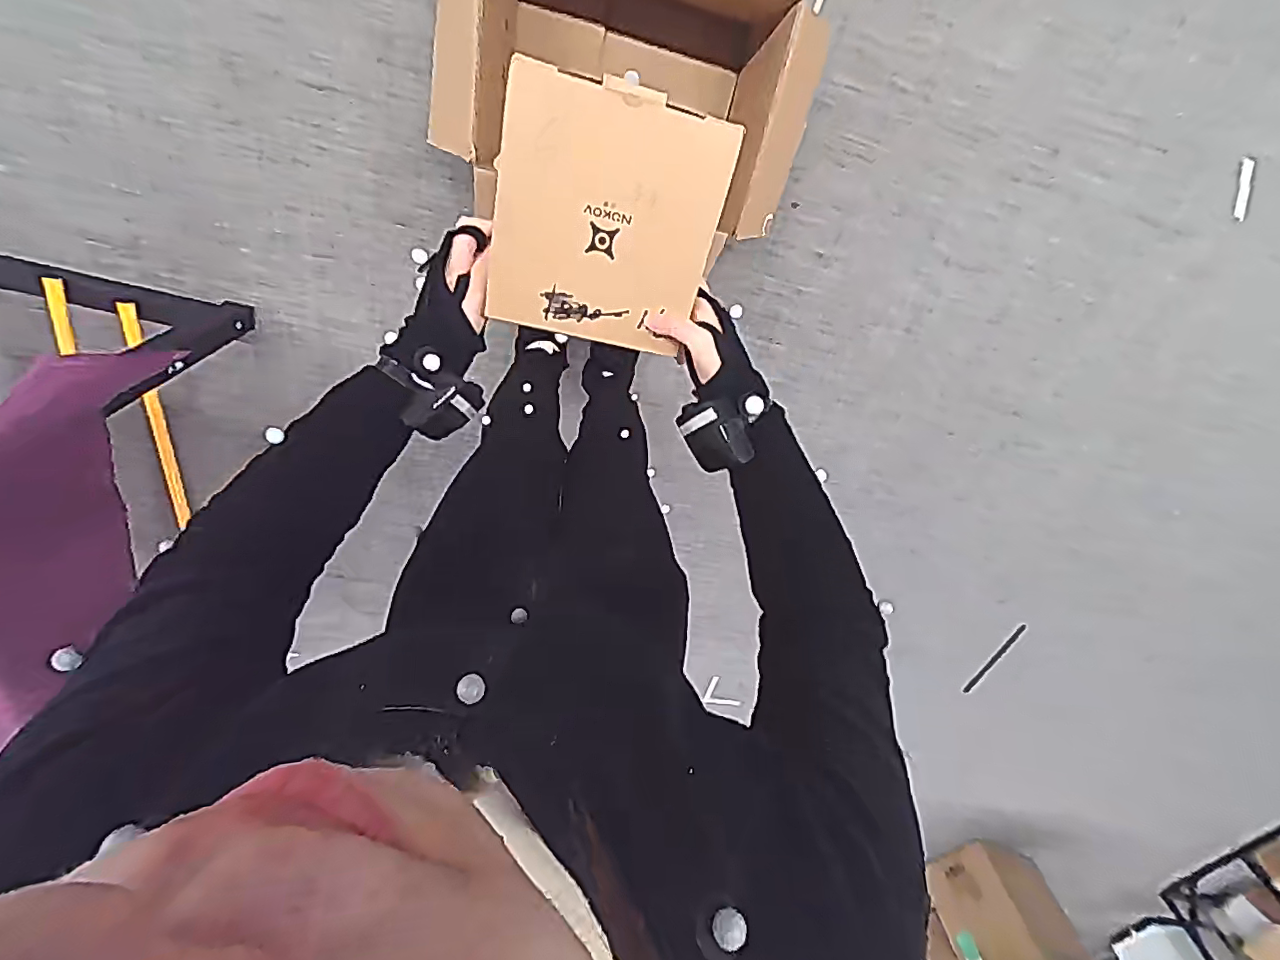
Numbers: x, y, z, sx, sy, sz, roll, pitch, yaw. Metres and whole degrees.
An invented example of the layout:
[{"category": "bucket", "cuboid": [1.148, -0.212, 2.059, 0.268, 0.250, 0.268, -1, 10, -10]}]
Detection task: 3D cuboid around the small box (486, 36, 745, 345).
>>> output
[{"category": "small box", "cuboid": [-0.032, -0.246, 0.477, 0.168, 0.176, 0.179, 11, 122, -13]}]
